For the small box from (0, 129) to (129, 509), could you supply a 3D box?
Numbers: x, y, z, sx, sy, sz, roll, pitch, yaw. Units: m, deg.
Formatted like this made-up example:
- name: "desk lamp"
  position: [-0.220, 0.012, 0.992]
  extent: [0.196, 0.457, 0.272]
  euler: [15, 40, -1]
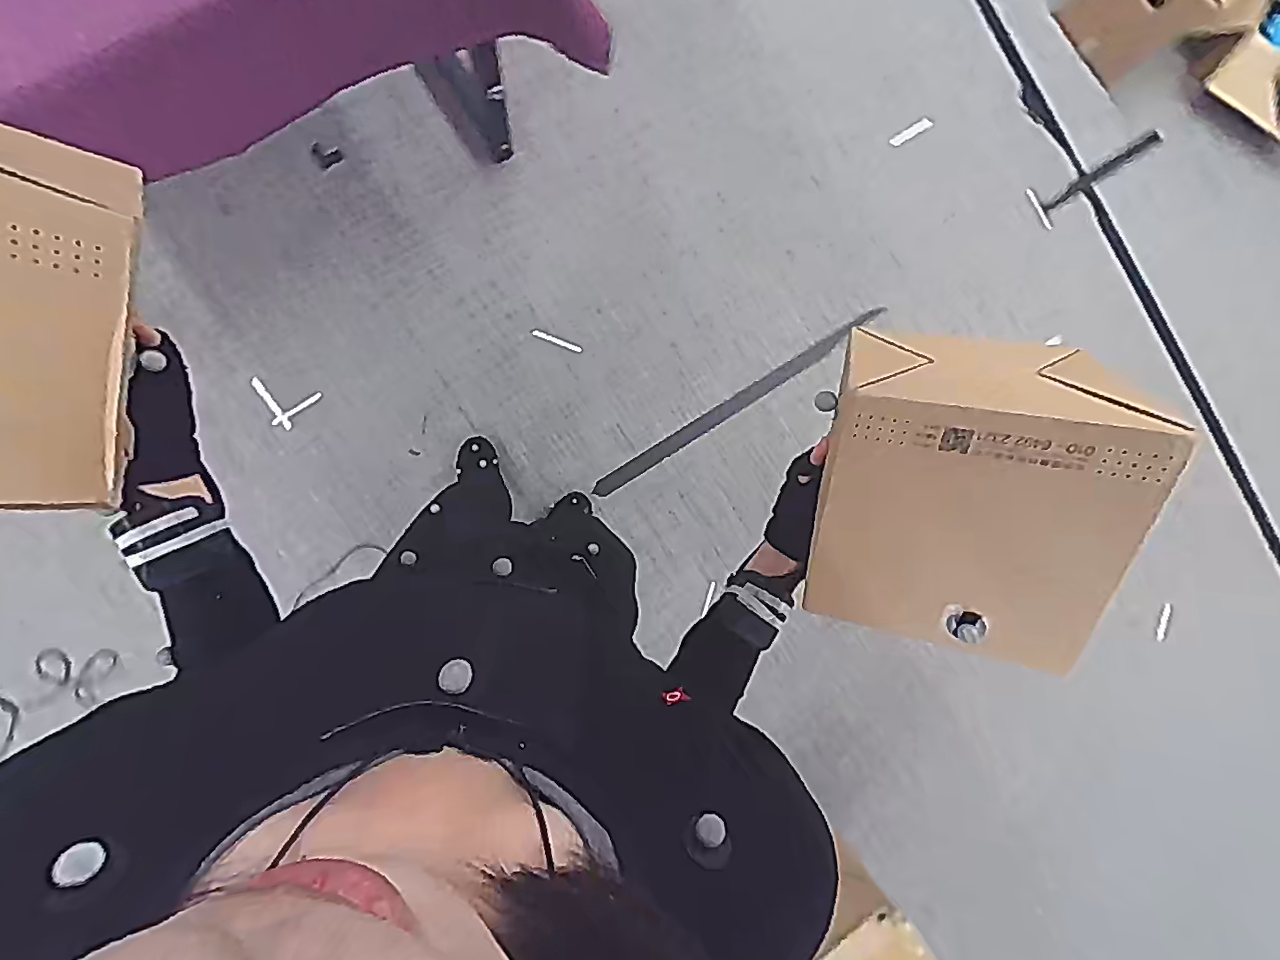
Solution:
- name: "small box"
  position: [-0.378, -0.099, 0.272]
  extent: [0.179, 0.168, 0.176]
  euler: [3, 116, -44]

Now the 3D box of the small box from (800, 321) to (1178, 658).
- name: "small box"
  position: [0.217, -0.014, 0.385]
  extent: [0.168, 0.179, 0.176]
  euler: [10, 121, 17]
